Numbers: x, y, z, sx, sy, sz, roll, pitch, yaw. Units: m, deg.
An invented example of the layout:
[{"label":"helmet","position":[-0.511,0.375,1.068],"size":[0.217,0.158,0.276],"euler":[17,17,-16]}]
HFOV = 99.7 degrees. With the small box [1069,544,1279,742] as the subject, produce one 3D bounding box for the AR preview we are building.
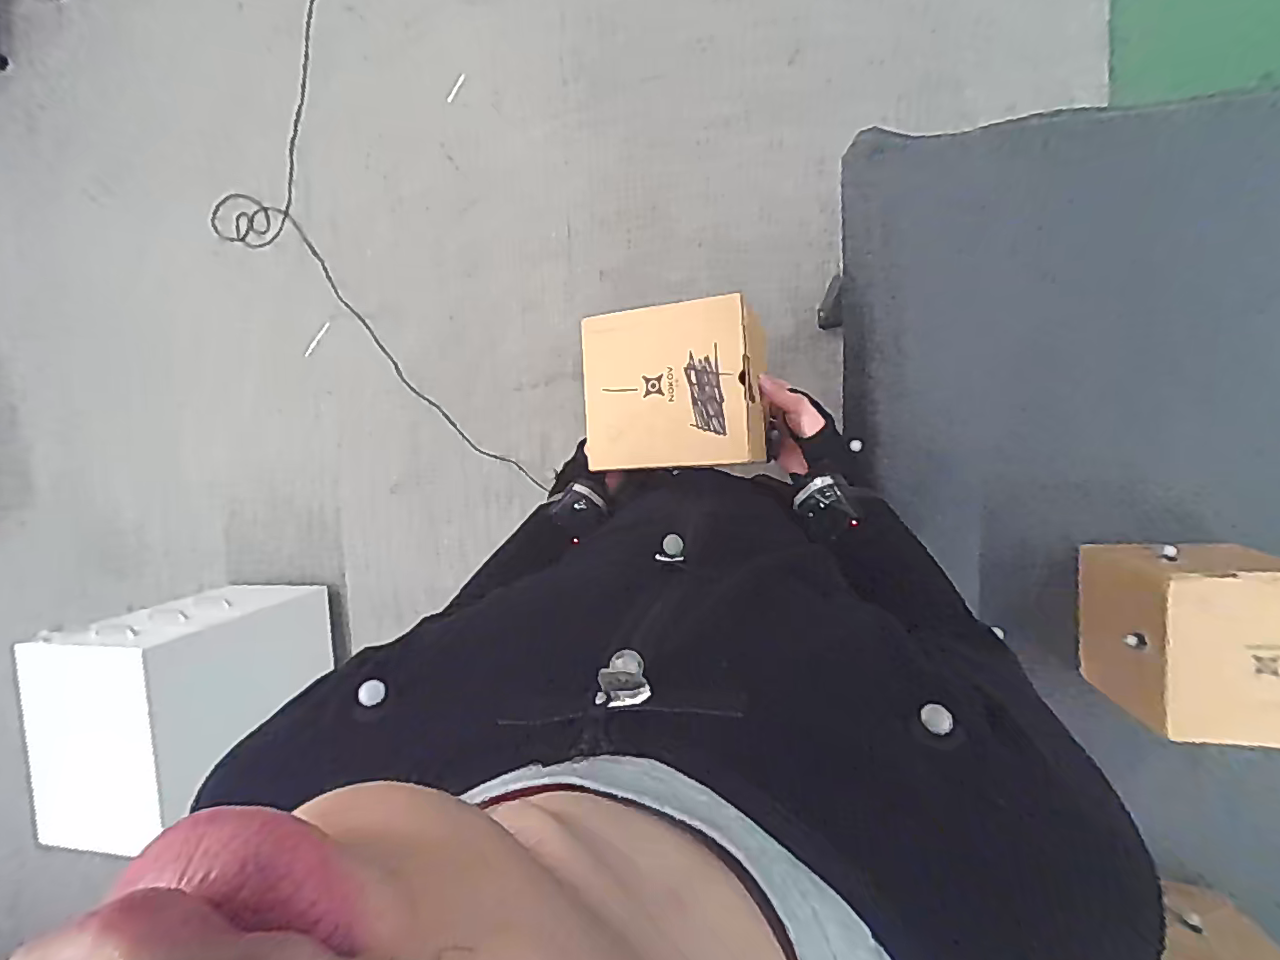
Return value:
[{"label":"small box","position":[0.631,0.172,0.622],"size":[0.168,0.176,0.179],"euler":[-2,95,14]}]
